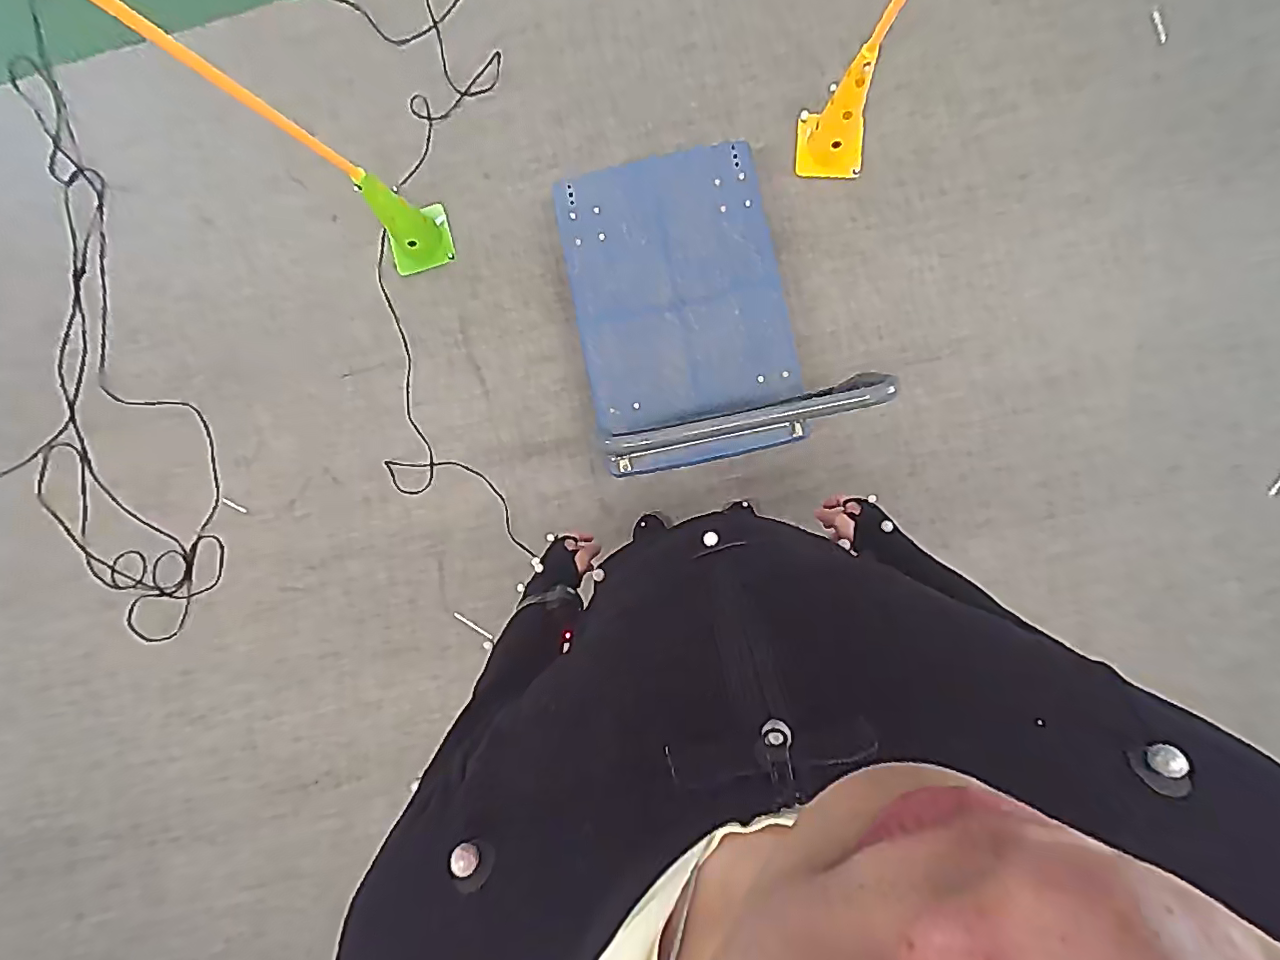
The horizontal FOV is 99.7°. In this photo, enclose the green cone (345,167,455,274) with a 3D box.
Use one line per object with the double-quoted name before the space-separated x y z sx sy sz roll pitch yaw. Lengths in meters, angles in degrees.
"green cone" -0.725 -0.792 1.577 0.202 0.368 0.200 -17 86 5
